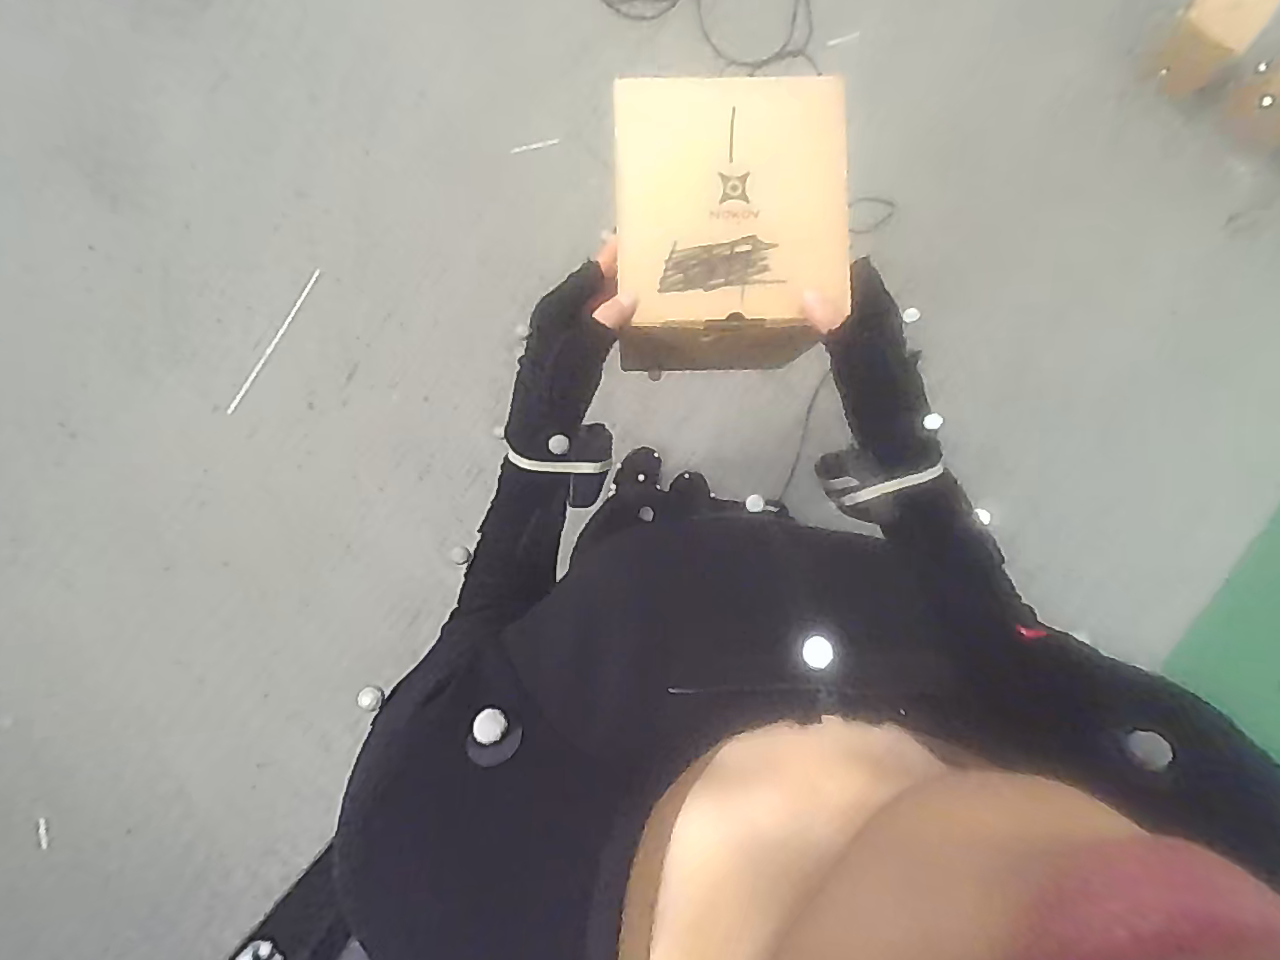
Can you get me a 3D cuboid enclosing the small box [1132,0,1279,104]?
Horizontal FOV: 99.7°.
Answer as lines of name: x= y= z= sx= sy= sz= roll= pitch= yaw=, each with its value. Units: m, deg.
small box: x=1.418 y=-1.115 z=1.365 sx=0.168 sy=0.176 sz=0.179 roll=35 pitch=92 yaw=2
